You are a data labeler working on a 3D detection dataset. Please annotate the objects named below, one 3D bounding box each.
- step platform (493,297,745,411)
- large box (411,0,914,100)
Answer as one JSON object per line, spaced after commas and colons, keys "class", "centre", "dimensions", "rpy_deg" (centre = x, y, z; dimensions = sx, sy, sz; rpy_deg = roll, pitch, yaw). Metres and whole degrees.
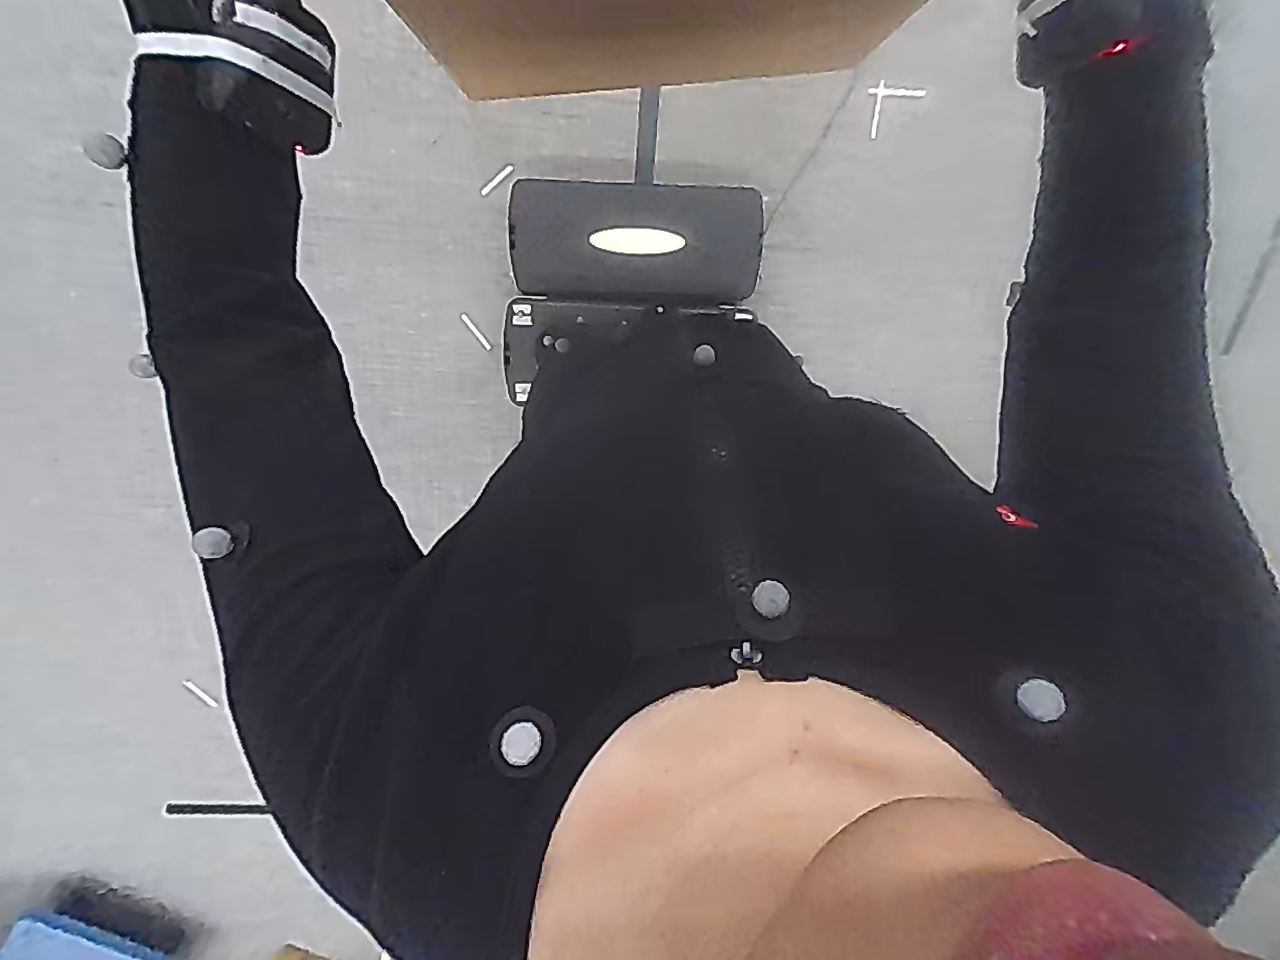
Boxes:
{"class": "step platform", "centre": [-0.055, -0.347, 1.499], "dimensions": [0.684, 0.204, 0.286], "rpy_deg": [1, 108, -3]}
{"class": "large box", "centre": [0.019, -0.507, 0.374], "dimensions": [0.408, 0.320, 0.320], "rpy_deg": [-5, 111, -1]}
